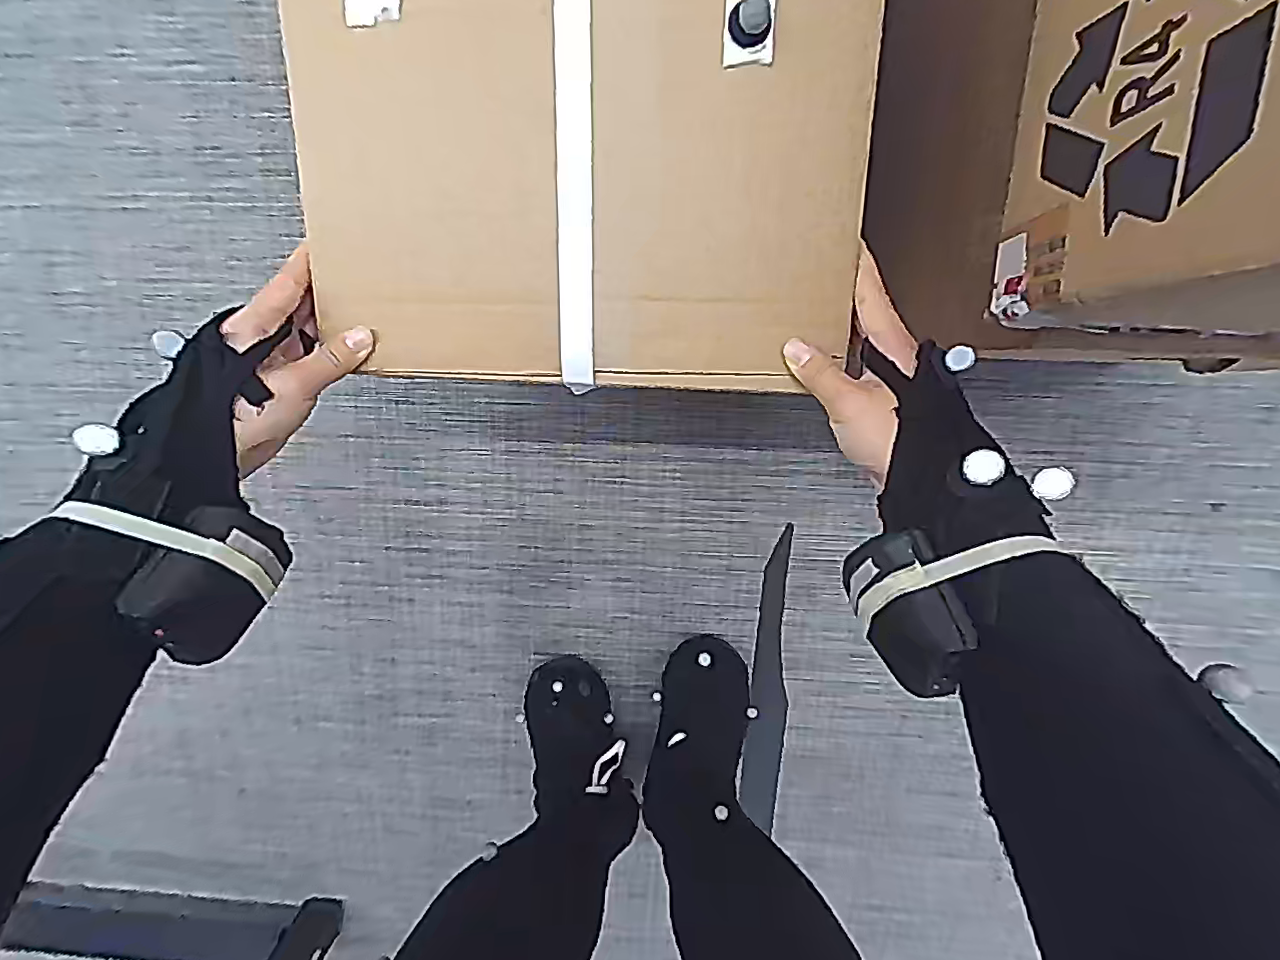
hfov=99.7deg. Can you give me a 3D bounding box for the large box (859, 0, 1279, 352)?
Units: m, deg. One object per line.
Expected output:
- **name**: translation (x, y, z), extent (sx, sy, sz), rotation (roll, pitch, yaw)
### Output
- **large box**: translation (0.387, -0.307, 0.408), extent (0.320, 0.320, 0.408), rotation (1, 103, 3)
